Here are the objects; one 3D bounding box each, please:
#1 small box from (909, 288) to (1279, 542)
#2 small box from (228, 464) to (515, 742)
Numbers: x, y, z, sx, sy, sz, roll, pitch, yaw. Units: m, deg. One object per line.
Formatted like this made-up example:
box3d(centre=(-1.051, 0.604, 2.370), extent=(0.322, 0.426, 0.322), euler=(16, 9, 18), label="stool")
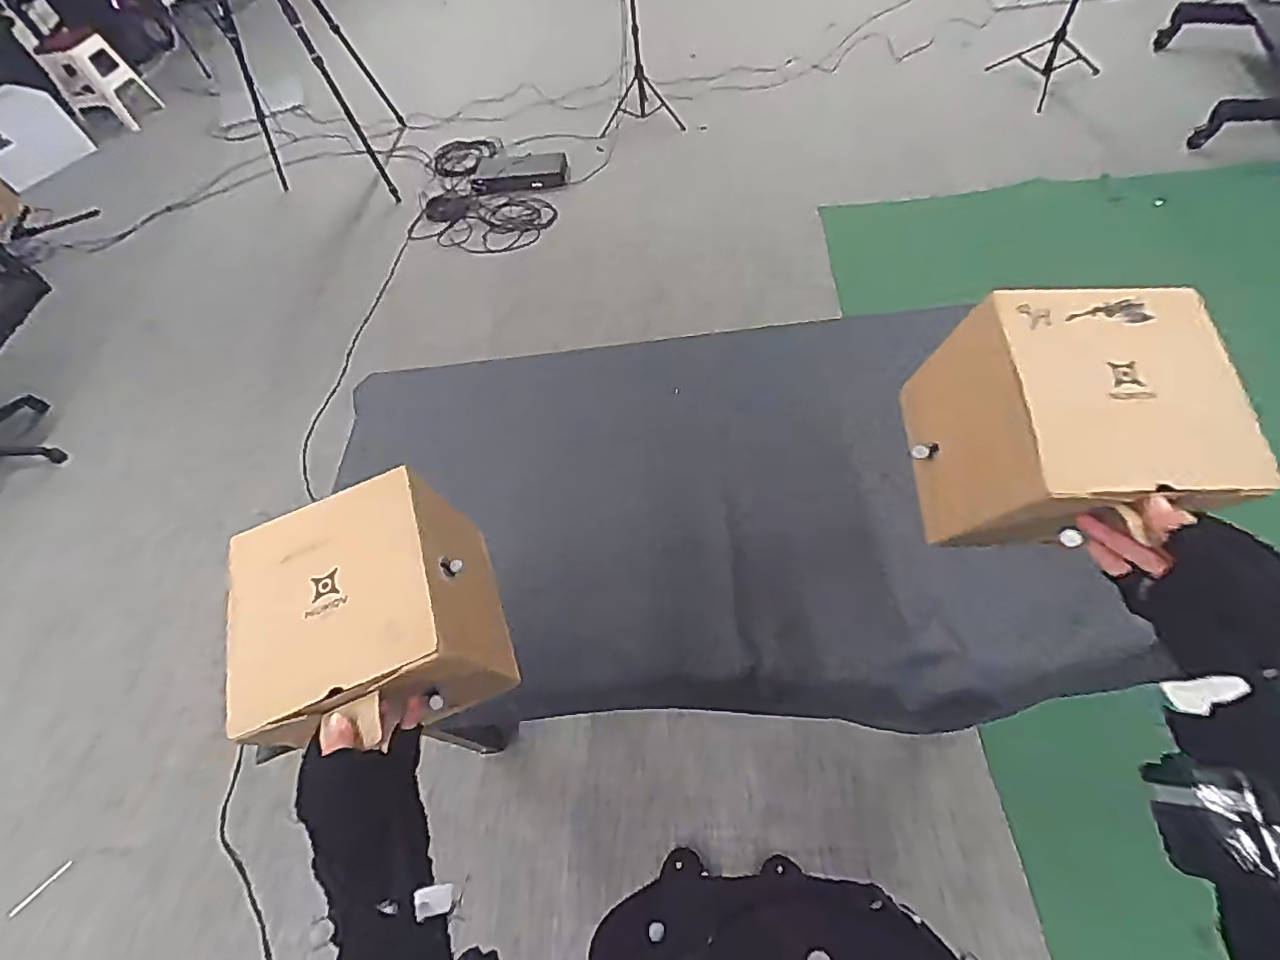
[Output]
box3d(centre=(0.364, -0.043, 0.474), extent=(0.168, 0.176, 0.179), euler=(-1, 72, 0), label="small box")
box3d(centre=(-0.232, 0.121, 0.496), extent=(0.168, 0.176, 0.179), euler=(-23, 60, -3), label="small box")
